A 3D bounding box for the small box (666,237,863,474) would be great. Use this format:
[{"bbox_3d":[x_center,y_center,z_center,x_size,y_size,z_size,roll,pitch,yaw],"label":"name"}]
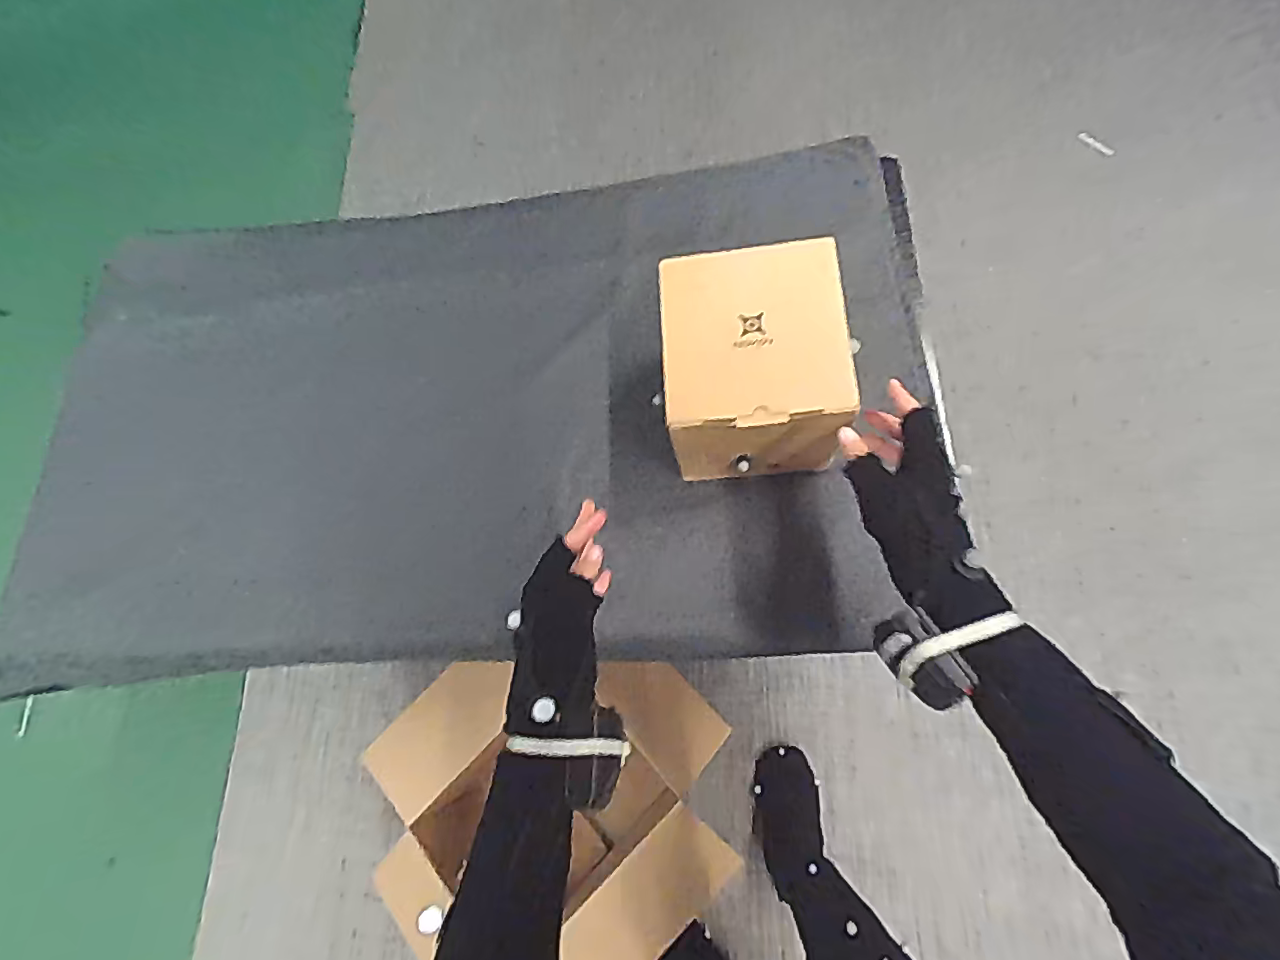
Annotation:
[{"bbox_3d":[0.118,-0.117,0.567,0.168,0.176,0.179,-5,74,8],"label":"small box"}]
